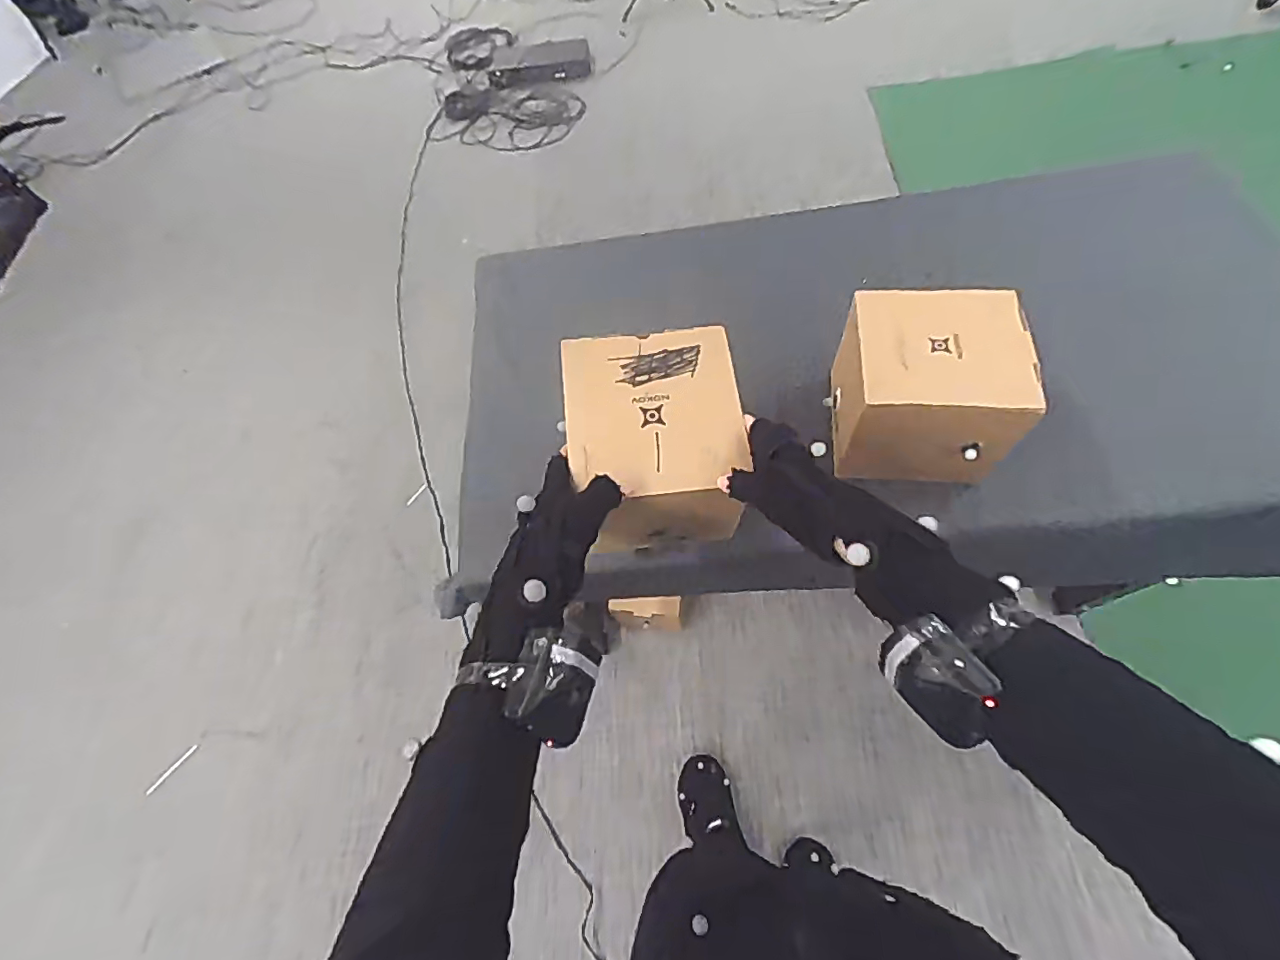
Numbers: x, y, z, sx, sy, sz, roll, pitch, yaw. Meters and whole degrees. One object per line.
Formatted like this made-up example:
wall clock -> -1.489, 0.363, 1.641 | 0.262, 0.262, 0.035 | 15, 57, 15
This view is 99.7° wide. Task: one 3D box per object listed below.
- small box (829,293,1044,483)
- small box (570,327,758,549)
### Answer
small box -> 0.341, -0.106, 0.663 | 0.179, 0.176, 0.168 | 2, 62, 9
small box -> 0.017, -0.038, 0.586 | 0.168, 0.176, 0.179 | -6, 67, -1
